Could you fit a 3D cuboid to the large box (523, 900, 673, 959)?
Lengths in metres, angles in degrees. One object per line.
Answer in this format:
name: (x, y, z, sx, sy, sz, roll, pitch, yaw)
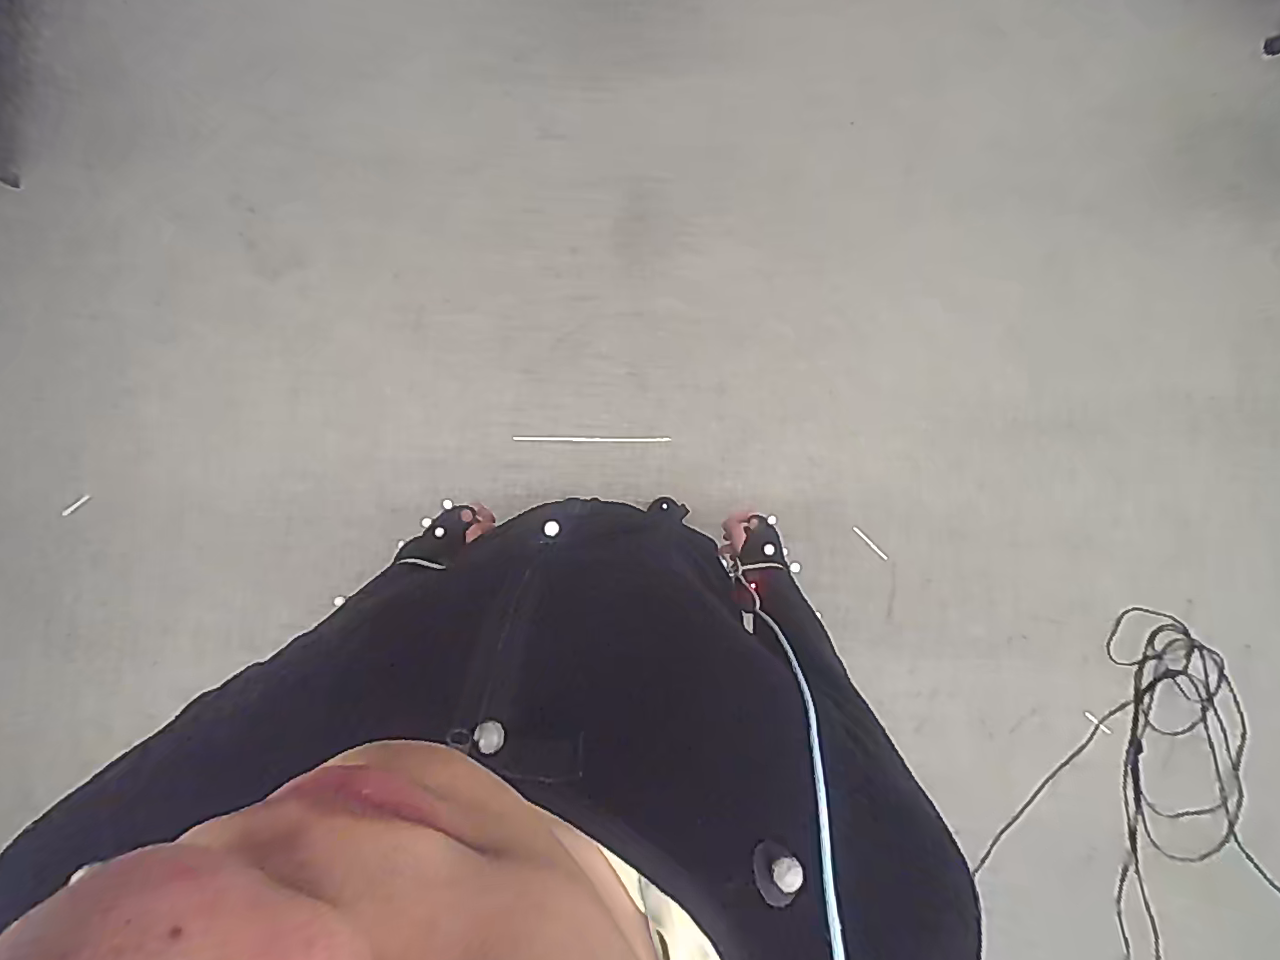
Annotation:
large box: (-0.103, 1.426, 1.462, 0.408, 0.320, 0.320, -8, 88, 0)
